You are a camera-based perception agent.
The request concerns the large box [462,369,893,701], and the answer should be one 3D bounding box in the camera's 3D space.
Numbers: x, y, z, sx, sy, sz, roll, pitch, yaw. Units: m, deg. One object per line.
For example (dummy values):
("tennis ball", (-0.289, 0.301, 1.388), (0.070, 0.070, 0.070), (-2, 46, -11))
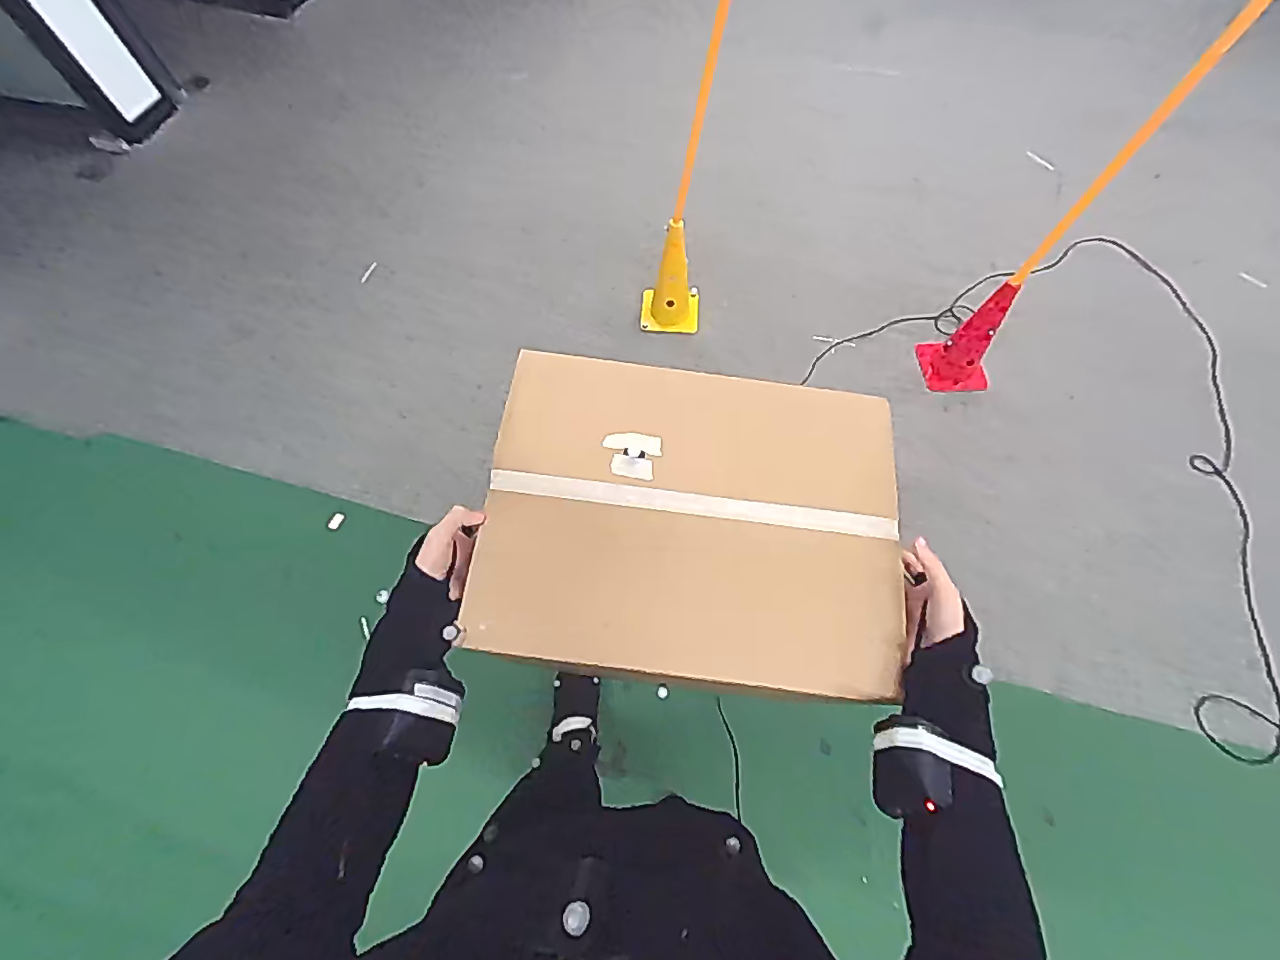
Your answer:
("large box", (0.046, 0.092, 0.683), (0.408, 0.320, 0.320), (7, 67, 1))
